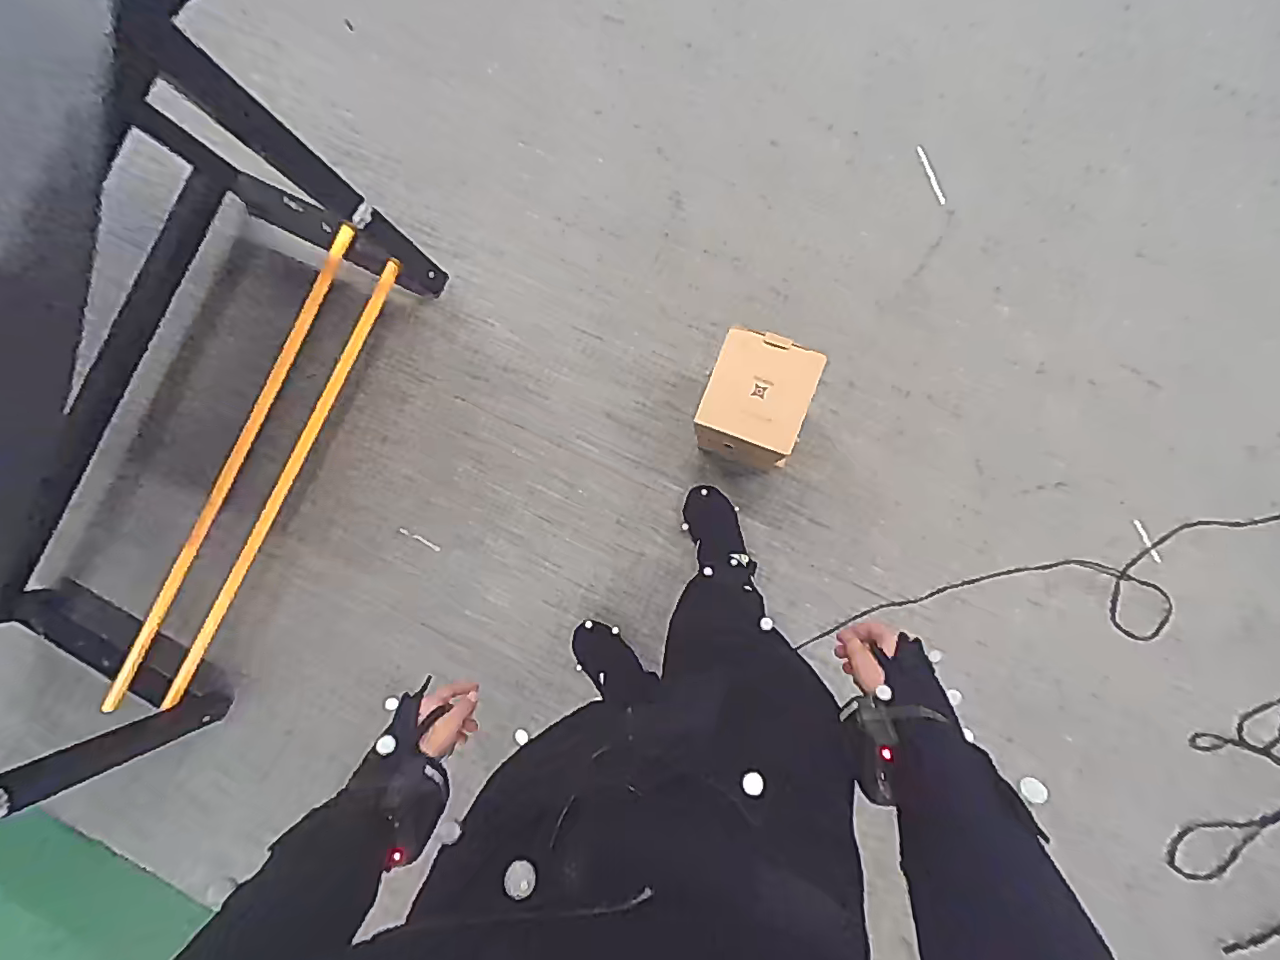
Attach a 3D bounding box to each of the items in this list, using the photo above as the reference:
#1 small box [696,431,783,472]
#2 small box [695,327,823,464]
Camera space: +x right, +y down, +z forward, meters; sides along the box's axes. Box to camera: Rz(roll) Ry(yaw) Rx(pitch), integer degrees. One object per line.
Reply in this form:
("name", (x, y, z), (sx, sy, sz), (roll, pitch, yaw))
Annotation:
("small box", (0.224, -0.121, 1.117), (0.179, 0.176, 0.168), (21, 89, 7))
("small box", (0.200, -0.139, 0.956), (0.168, 0.176, 0.179), (20, 90, 7))
